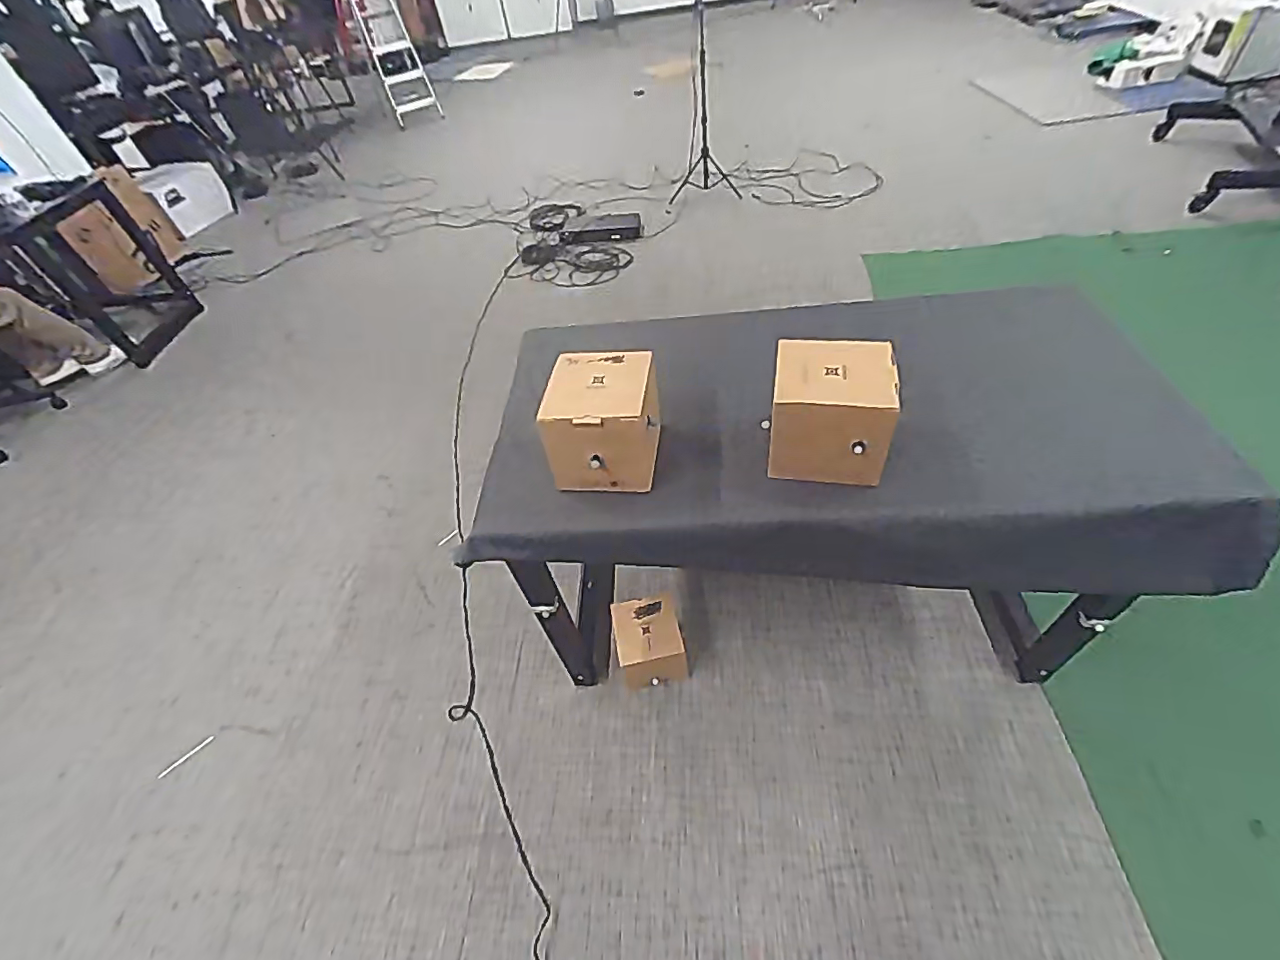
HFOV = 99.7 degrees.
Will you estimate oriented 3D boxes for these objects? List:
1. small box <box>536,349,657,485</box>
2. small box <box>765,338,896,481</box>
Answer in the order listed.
[{"bbox_3d":[-0.063,-0.106,0.933,0.168,0.176,0.179,1,48,8],"label":"small box"},{"bbox_3d":[0.304,-0.114,0.891,0.179,0.176,0.168,4,48,13],"label":"small box"}]
